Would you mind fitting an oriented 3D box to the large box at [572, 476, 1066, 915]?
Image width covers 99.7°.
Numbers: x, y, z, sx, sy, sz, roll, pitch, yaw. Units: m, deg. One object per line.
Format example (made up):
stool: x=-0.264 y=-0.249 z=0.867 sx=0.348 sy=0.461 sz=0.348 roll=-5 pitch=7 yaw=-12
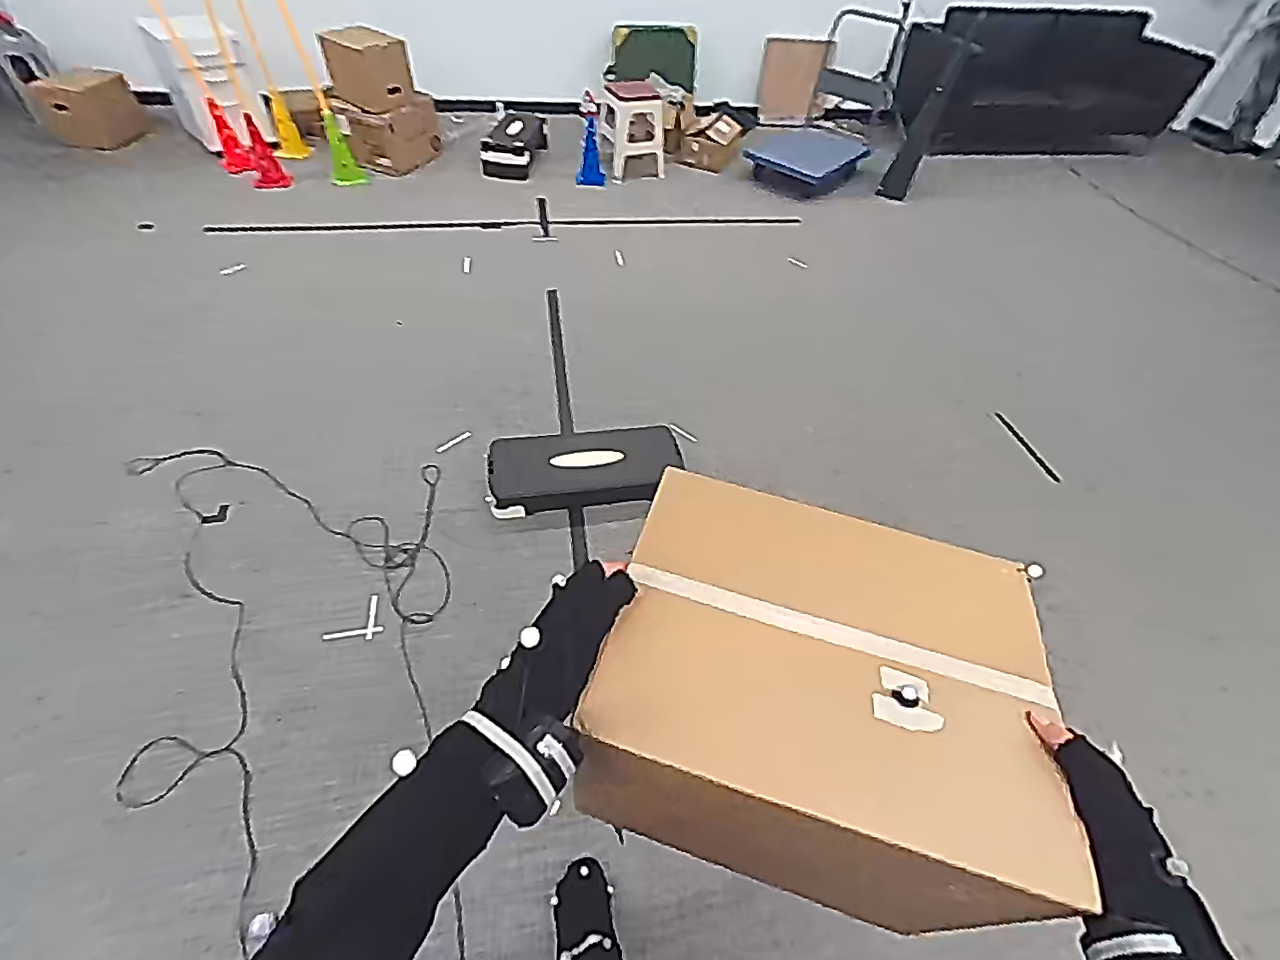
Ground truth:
large box: x=0.156 y=0.247 z=0.635 sx=0.408 sy=0.320 sz=0.320 roll=15 pitch=48 yaw=8
